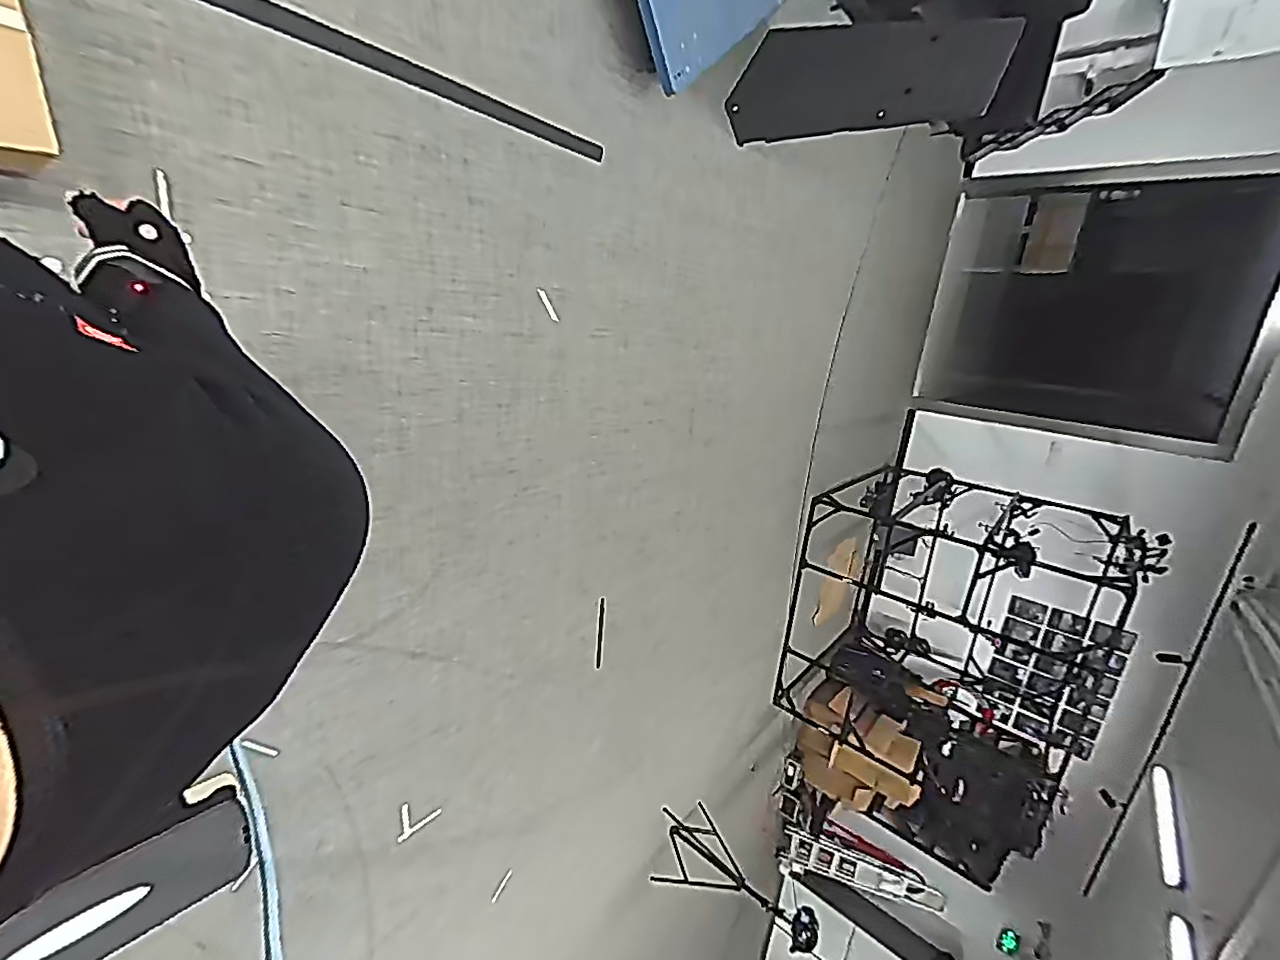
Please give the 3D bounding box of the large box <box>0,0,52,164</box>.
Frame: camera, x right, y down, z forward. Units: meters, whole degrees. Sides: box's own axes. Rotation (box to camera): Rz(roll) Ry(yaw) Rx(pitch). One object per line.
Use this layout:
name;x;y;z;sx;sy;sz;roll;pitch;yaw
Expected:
large box;-1.072;-0.609;0.660;0.408;0.320;0.320;-20;121;-49
